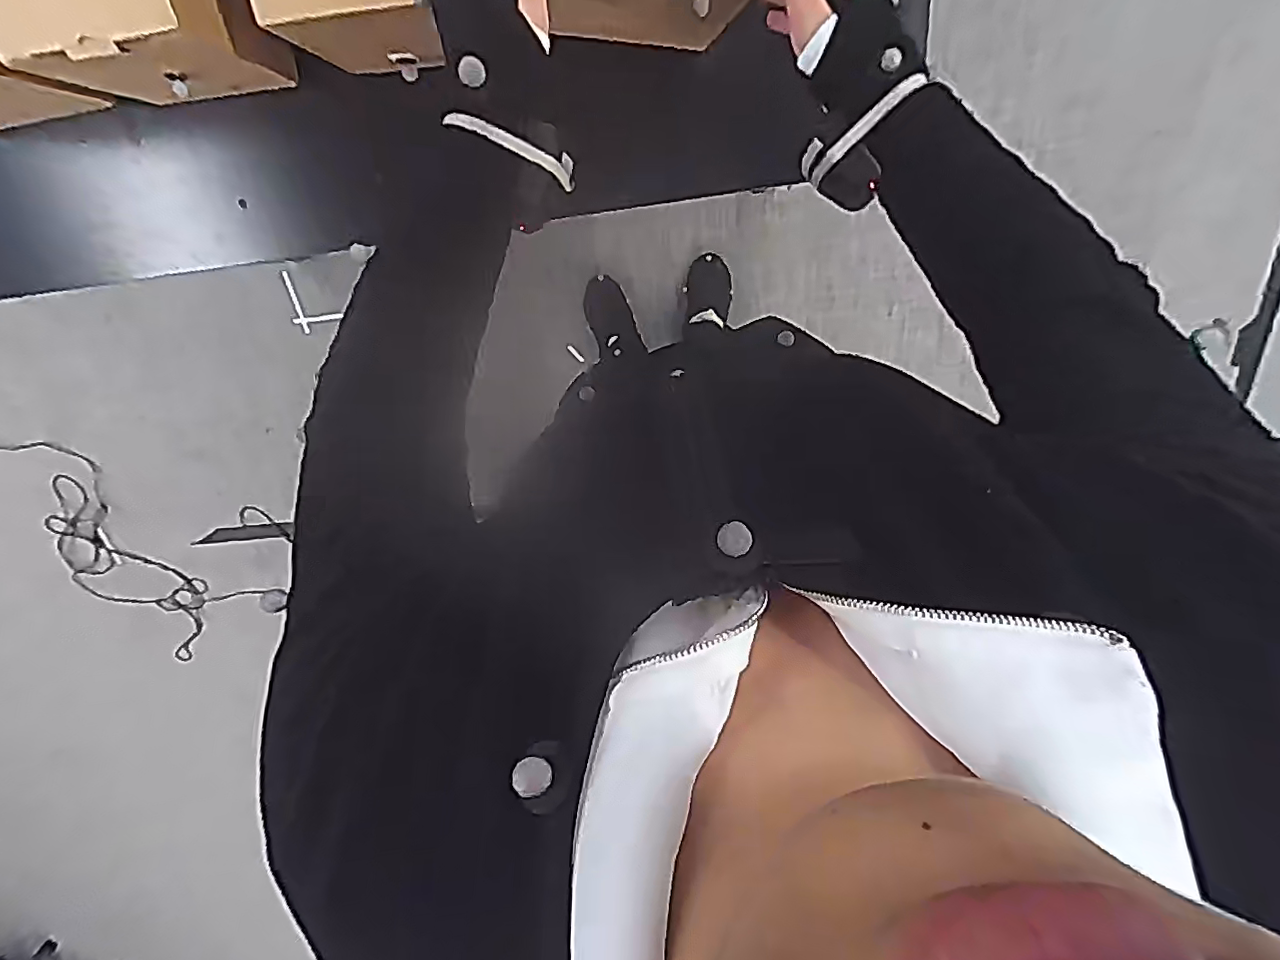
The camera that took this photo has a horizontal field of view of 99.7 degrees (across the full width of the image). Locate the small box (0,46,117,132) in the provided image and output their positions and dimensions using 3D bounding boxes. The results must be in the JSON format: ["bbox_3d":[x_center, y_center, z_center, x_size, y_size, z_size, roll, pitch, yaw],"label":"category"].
[{"bbox_3d":[-0.668,-0.440,0.500,0.179,0.176,0.168,-9,114,4],"label":"small box"}]

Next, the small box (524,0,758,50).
[{"bbox_3d":[0.001,-0.463,0.417,0.179,0.176,0.168,-3,112,-12],"label":"small box"}]

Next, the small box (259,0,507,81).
[{"bbox_3d":[-0.230,-0.486,0.476,0.168,0.176,0.179,-5,115,4],"label":"small box"}]

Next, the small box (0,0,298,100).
[{"bbox_3d":[-0.454,-0.464,0.487,0.168,0.176,0.179,-5,114,4],"label":"small box"}]
